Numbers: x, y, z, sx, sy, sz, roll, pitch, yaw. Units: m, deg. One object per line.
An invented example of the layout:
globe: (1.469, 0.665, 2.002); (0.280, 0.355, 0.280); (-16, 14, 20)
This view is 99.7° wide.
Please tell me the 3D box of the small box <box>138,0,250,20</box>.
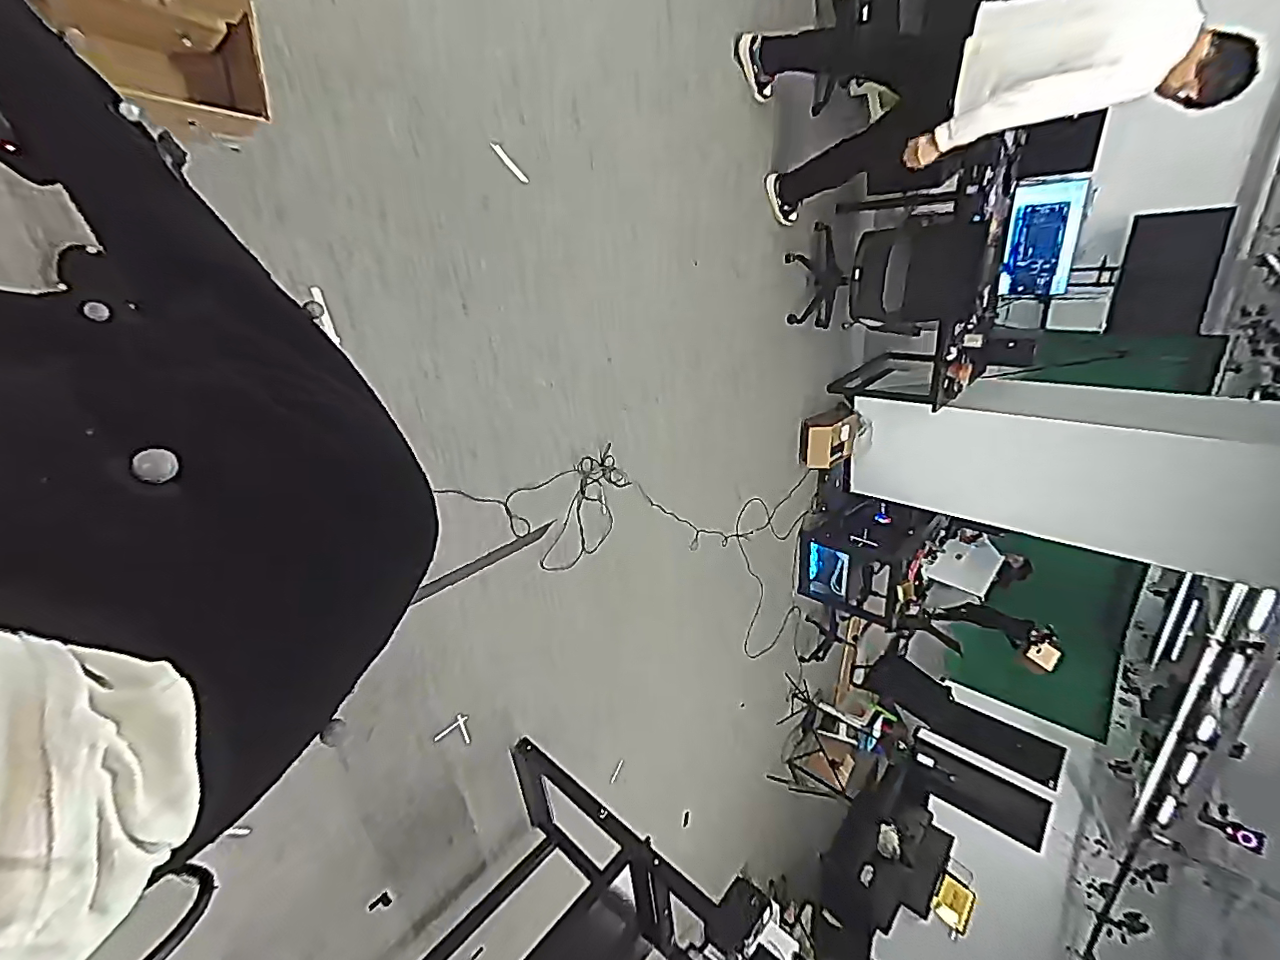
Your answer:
small box: (-0.588, -0.695, 0.647); (0.179, 0.176, 0.168); (-21, 117, -45)
